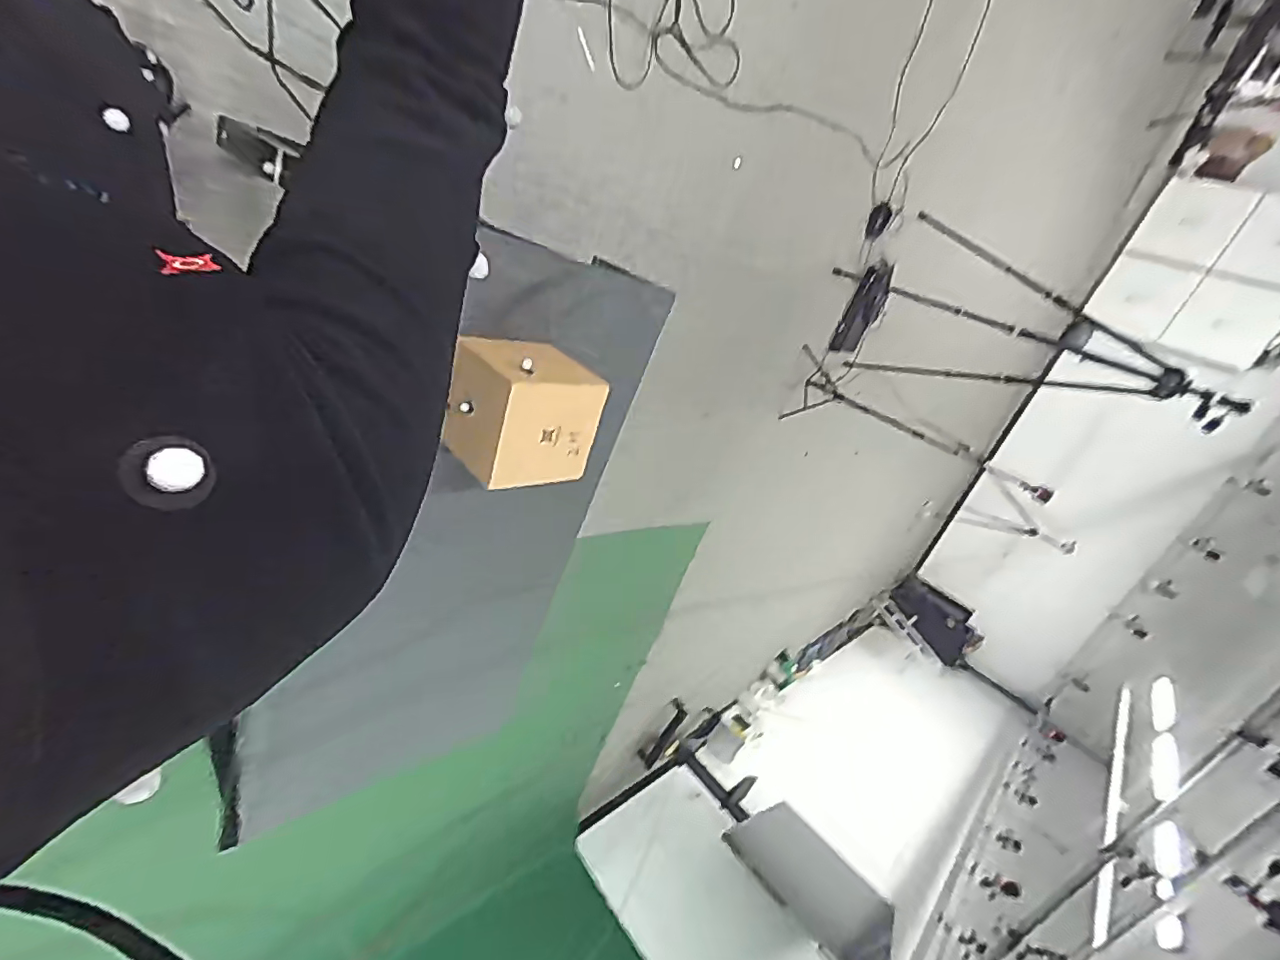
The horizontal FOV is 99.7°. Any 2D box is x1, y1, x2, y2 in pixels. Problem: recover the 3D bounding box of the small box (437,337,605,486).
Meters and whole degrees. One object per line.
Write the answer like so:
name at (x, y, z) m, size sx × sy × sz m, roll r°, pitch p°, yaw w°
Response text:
small box at (-0.189, -0.109, 0.834) m, size 0.179 × 0.176 × 0.168 m, roll -8°, pitch 128°, yaw -47°
